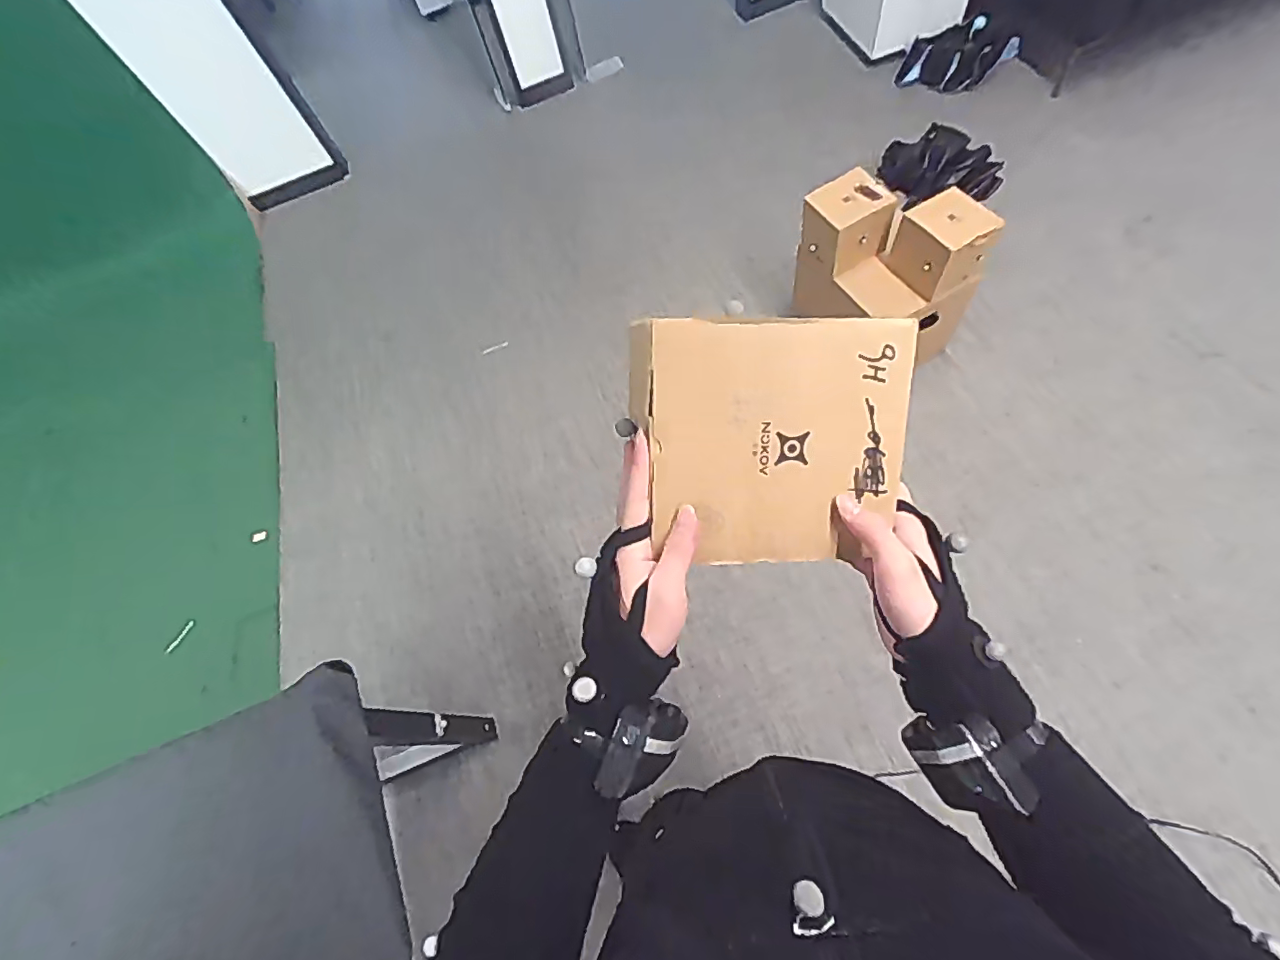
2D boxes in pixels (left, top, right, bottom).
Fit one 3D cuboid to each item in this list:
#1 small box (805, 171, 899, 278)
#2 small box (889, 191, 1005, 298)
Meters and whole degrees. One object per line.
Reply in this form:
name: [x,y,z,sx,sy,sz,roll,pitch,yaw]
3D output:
small box: [0.576,-0.704,1.498,0.179,0.176,0.168,-28,63,0]
small box: [0.790,-0.604,1.410,0.168,0.176,0.179,-29,62,-7]
